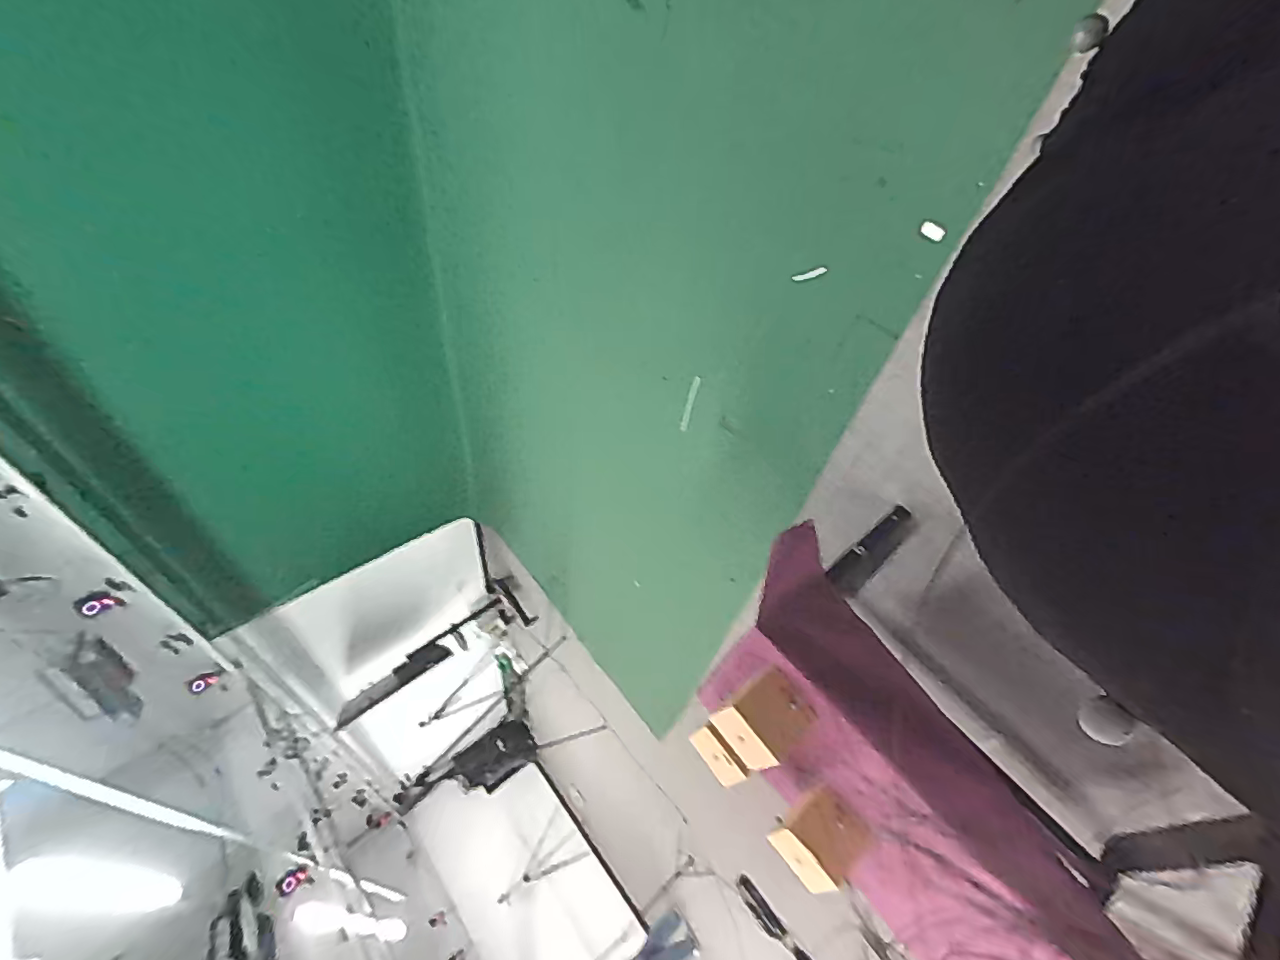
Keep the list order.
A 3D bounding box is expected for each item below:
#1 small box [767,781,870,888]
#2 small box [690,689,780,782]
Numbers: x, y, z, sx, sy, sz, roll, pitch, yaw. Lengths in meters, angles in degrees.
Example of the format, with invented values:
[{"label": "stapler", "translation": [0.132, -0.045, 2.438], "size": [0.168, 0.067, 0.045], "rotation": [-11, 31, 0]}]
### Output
[{"label": "small box", "translation": [0.478, 0.946, 1.446], "size": [0.168, 0.176, 0.179], "rotation": [45, 146, 23]}, {"label": "small box", "translation": [0.276, 0.742, 1.571], "size": [0.168, 0.176, 0.179], "rotation": [48, 148, 19]}]
